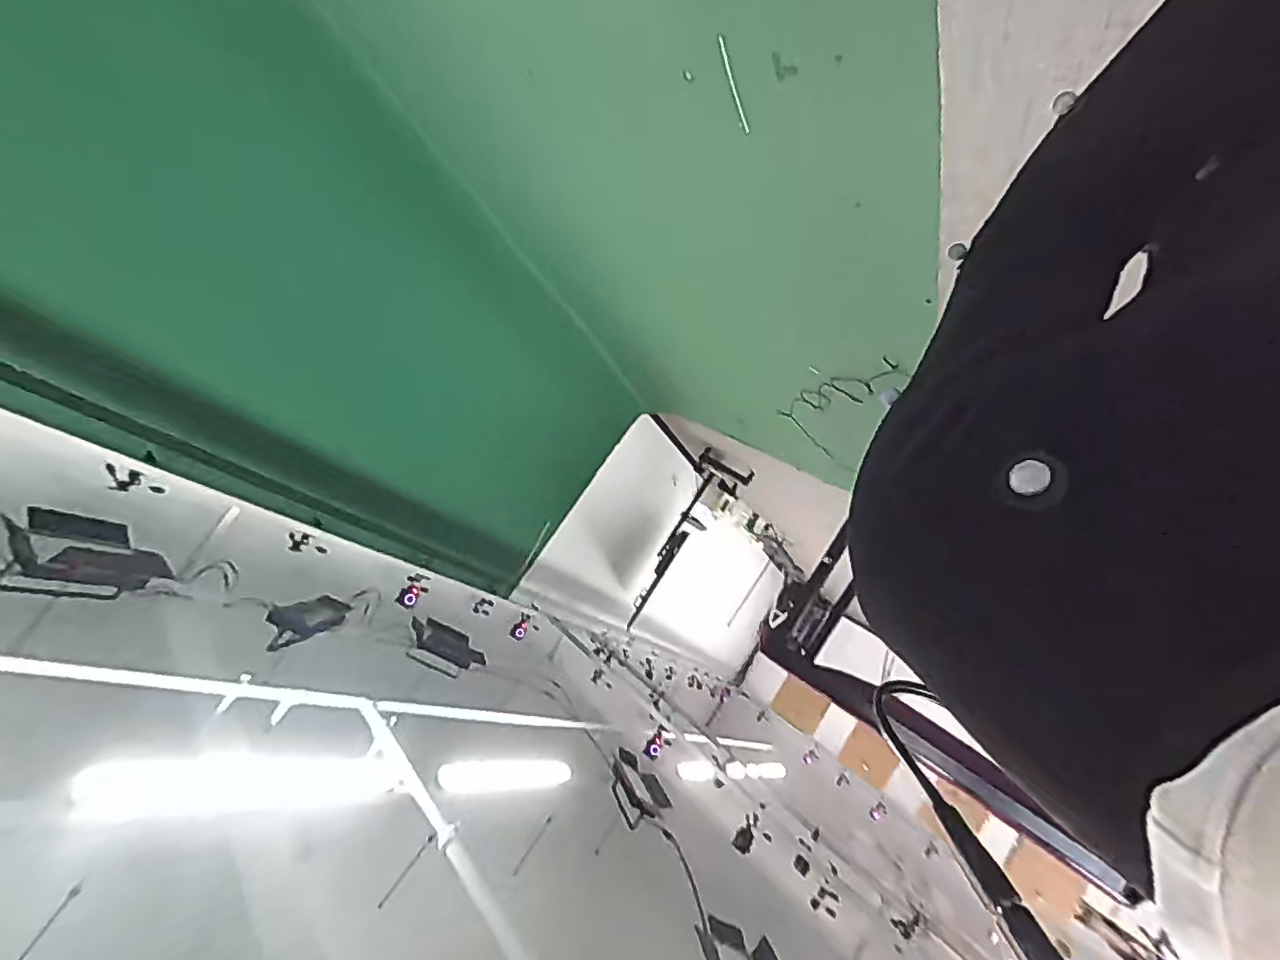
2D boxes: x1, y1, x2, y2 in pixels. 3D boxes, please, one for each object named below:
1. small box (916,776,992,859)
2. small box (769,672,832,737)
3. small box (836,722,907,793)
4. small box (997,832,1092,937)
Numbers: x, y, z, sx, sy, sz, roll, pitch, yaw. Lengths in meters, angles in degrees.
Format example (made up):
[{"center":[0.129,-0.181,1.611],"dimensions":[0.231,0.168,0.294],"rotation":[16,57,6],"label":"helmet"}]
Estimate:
[{"center":[1.040,1.111,1.793],"dimensions":[0.168,0.176,0.179],"rotation":[30,172,37],"label":"small box"},{"center":[0.639,0.885,2.129],"dimensions":[0.179,0.176,0.168],"rotation":[29,170,33],"label":"small box"},{"center":[0.844,0.999,1.963],"dimensions":[0.179,0.176,0.168],"rotation":[28,172,36],"label":"small box"},{"center":[1.221,1.214,1.635],"dimensions":[0.179,0.176,0.168],"rotation":[31,172,38],"label":"small box"}]
